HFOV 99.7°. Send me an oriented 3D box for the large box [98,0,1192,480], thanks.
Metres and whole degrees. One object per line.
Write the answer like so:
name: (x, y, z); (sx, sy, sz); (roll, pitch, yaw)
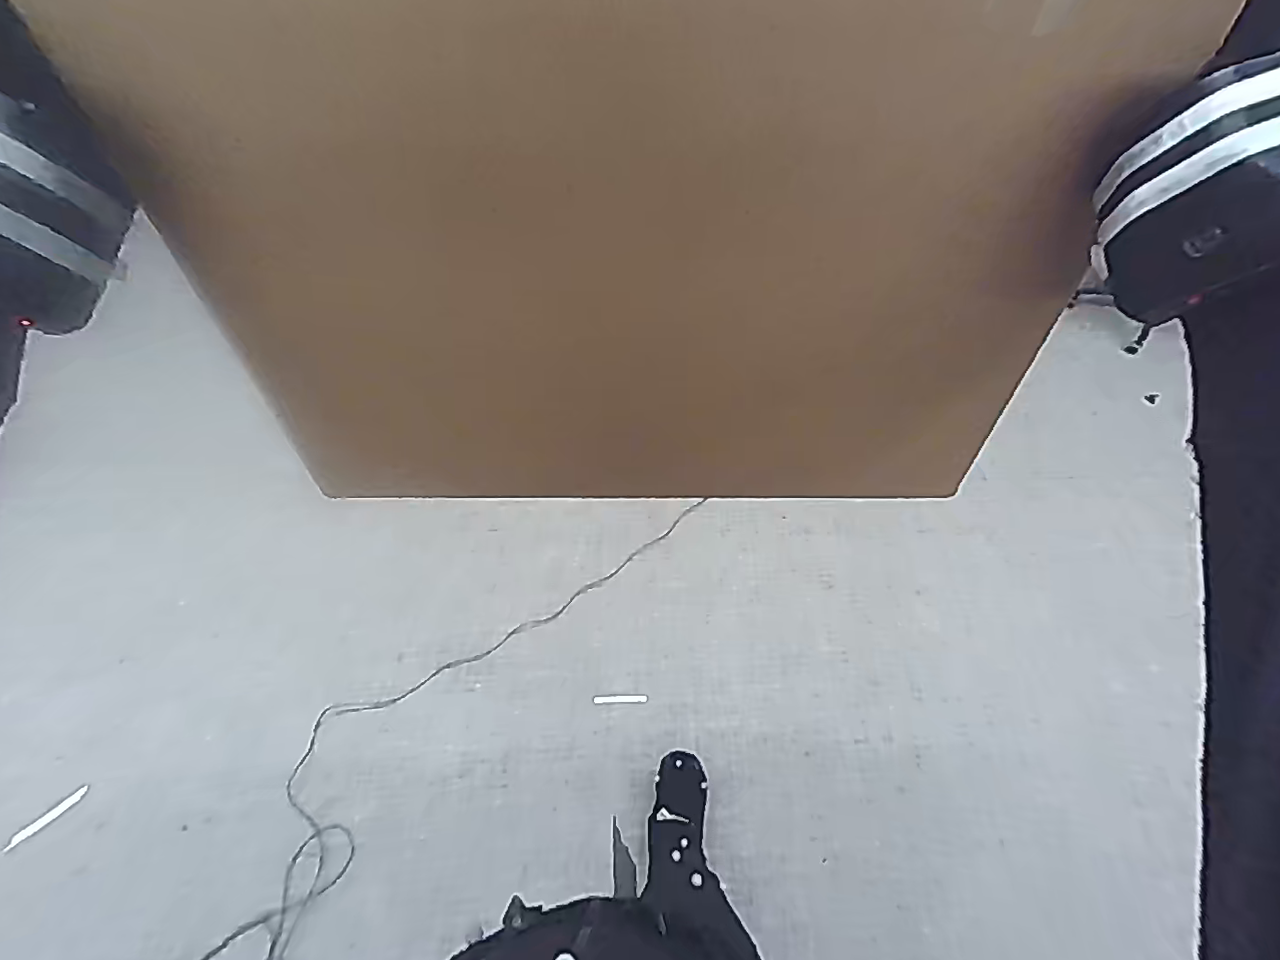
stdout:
large box: (0.000, -0.211, 0.360); (0.408, 0.320, 0.320); (0, 46, -1)
